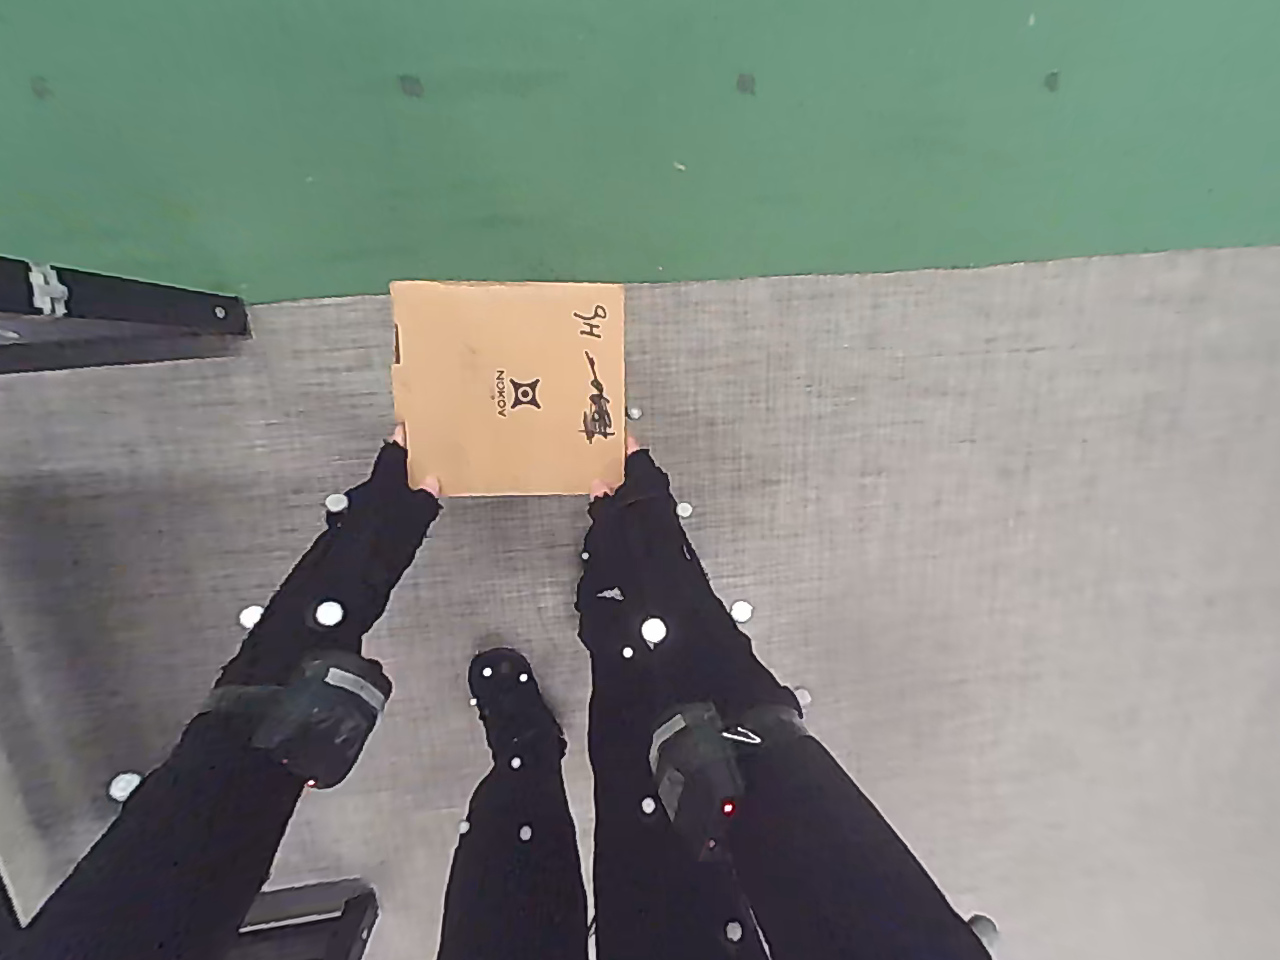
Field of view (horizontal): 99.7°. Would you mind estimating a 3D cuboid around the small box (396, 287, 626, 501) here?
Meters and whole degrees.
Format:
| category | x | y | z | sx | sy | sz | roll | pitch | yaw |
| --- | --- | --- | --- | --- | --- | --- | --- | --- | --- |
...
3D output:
| category | x | y | z | sx | sy | sz | roll | pitch | yaw |
| --- | --- | --- | --- | --- | --- | --- | --- | --- | --- |
| small box | -0.104 | -0.078 | 0.503 | 0.179 | 0.176 | 0.168 | 0 | 101 | -4 |
